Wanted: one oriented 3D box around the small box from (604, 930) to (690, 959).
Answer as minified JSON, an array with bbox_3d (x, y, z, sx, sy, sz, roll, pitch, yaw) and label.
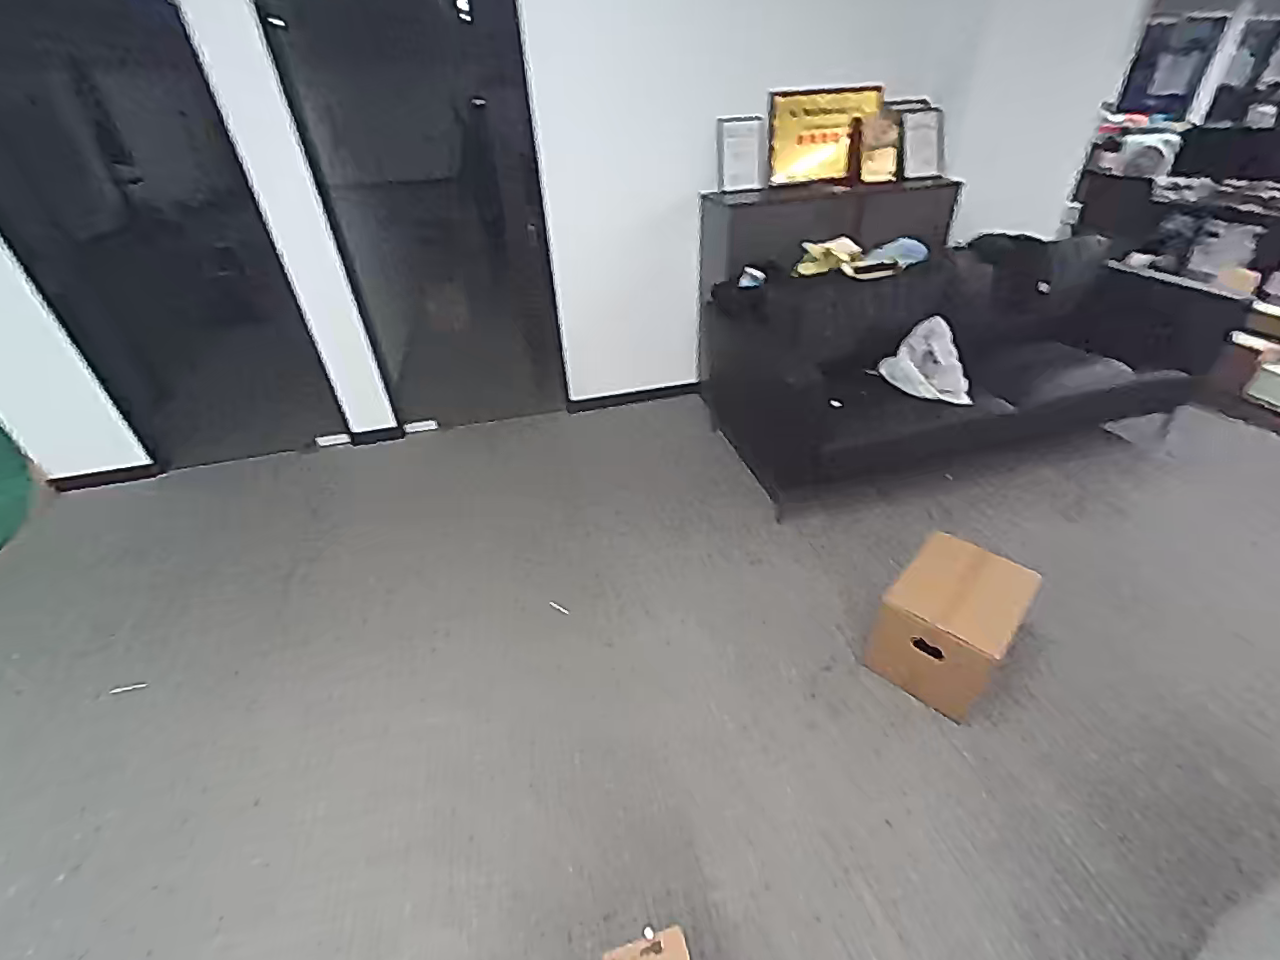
[{"bbox_3d":[0.032,1.031,1.052,0.168,0.176,0.179,-11,36,-12],"label":"small box"}]
